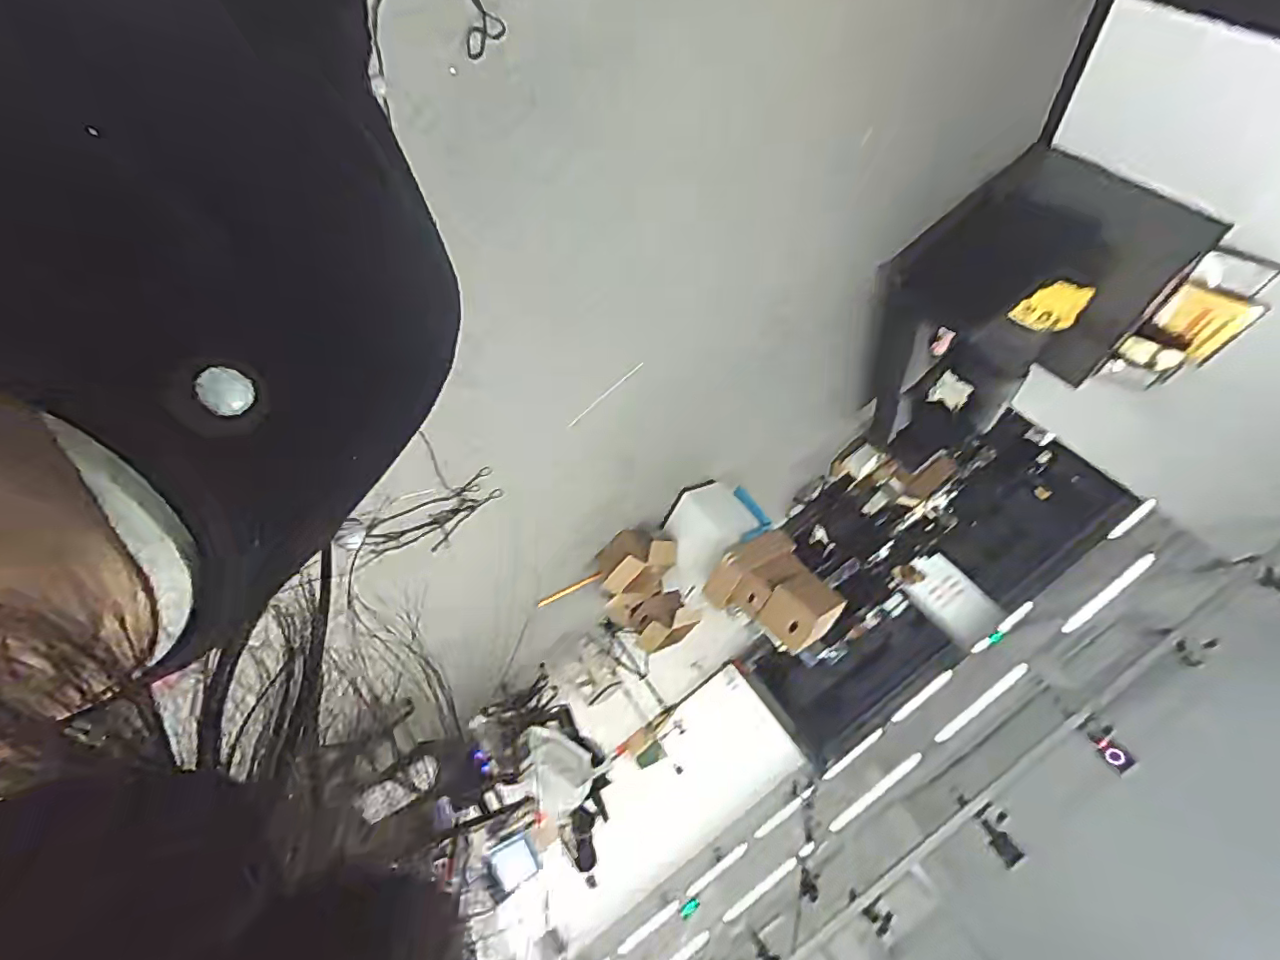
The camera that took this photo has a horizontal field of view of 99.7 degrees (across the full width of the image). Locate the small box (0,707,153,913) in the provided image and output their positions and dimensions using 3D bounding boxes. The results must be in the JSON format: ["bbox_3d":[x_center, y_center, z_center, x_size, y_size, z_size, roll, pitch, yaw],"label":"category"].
[{"bbox_3d":[-0.807,0.449,0.750,0.179,0.176,0.168,-6,139,-47],"label":"small box"}]

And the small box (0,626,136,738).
[{"bbox_3d":[-0.915,0.343,0.819,0.168,0.176,0.179,-50,153,20],"label":"small box"}]
